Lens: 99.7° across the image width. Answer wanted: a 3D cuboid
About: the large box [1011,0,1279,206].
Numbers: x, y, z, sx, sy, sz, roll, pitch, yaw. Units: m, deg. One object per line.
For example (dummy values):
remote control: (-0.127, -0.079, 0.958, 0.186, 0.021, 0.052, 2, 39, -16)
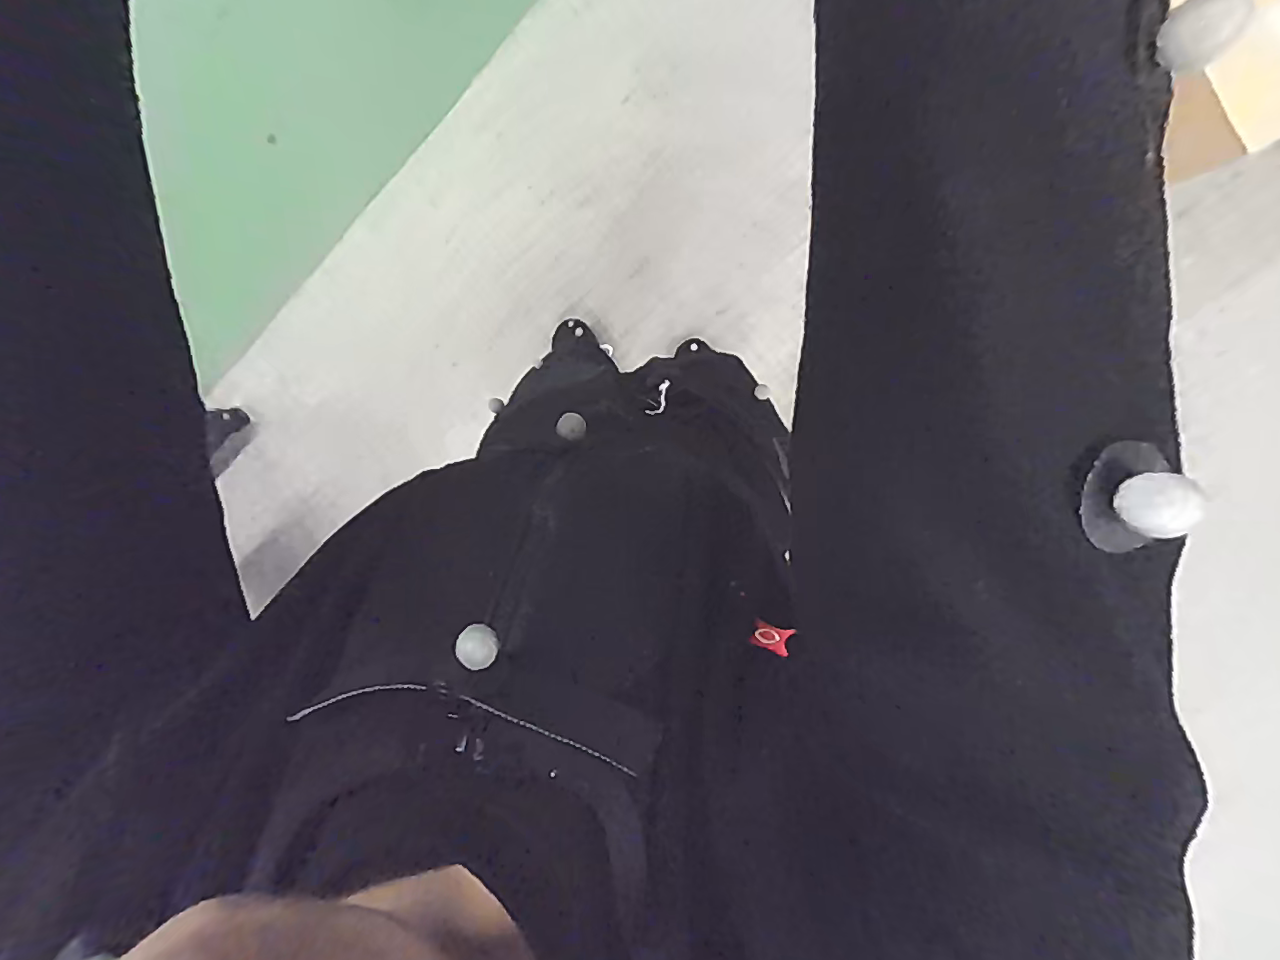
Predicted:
large box: (0.944, -0.766, 0.911, 0.320, 0.320, 0.408, -33, 96, 14)
